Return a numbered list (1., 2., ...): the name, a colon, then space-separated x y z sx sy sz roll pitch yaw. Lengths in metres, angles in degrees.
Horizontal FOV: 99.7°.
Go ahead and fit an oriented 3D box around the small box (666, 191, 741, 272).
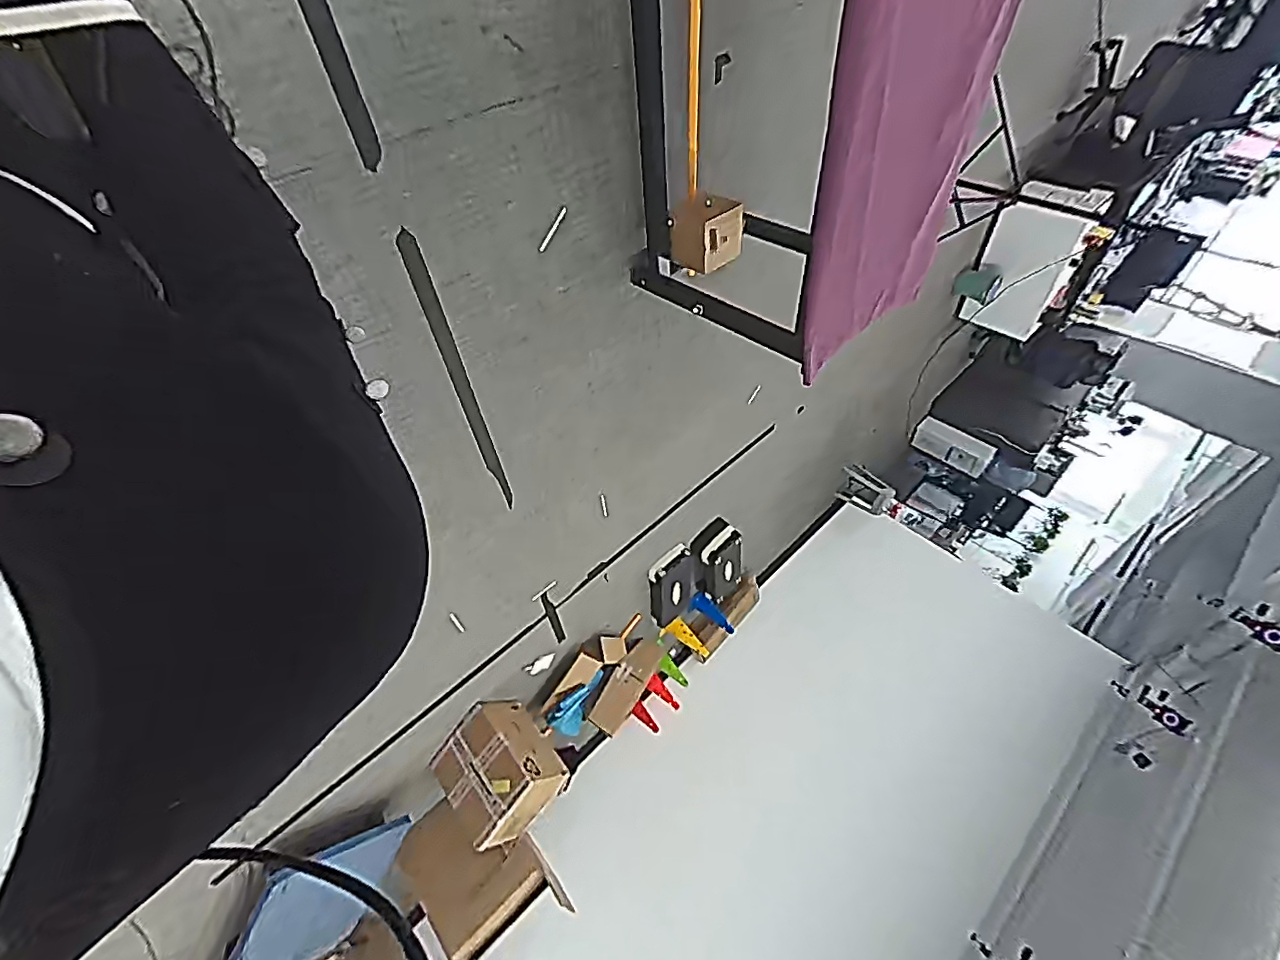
1. small box: 0.192 -0.784 1.697 0.179 0.176 0.168 -37 145 -25
